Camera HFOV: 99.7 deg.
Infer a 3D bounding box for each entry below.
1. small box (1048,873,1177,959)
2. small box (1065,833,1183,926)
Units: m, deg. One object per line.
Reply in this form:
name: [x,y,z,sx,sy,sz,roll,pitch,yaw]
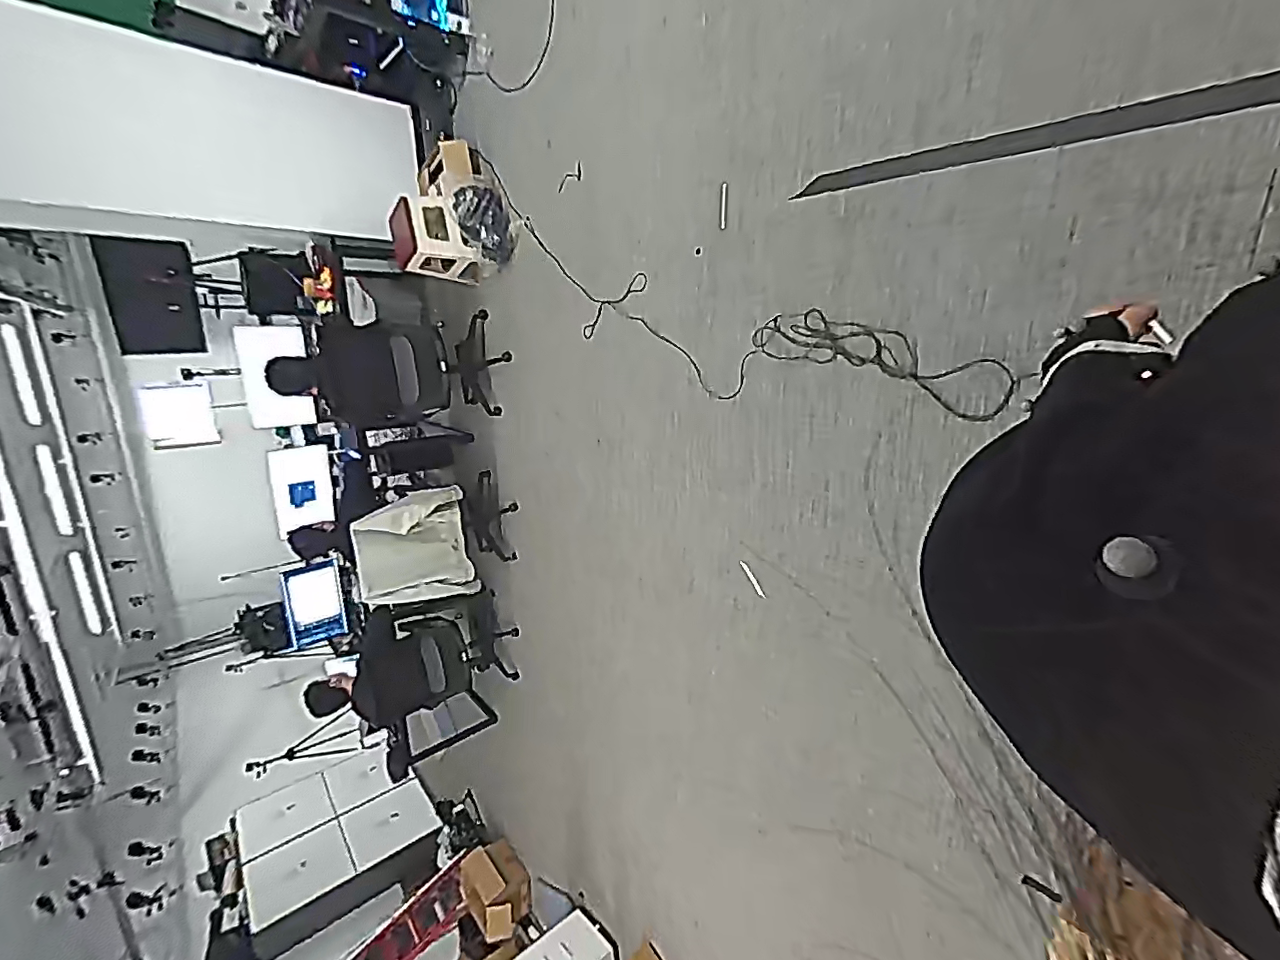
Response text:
small box: [0.982,0.981,1.126,0.179,0.176,0.168,14,109,47]
small box: [1.102,0.955,1.237,0.179,0.176,0.168,10,107,48]
